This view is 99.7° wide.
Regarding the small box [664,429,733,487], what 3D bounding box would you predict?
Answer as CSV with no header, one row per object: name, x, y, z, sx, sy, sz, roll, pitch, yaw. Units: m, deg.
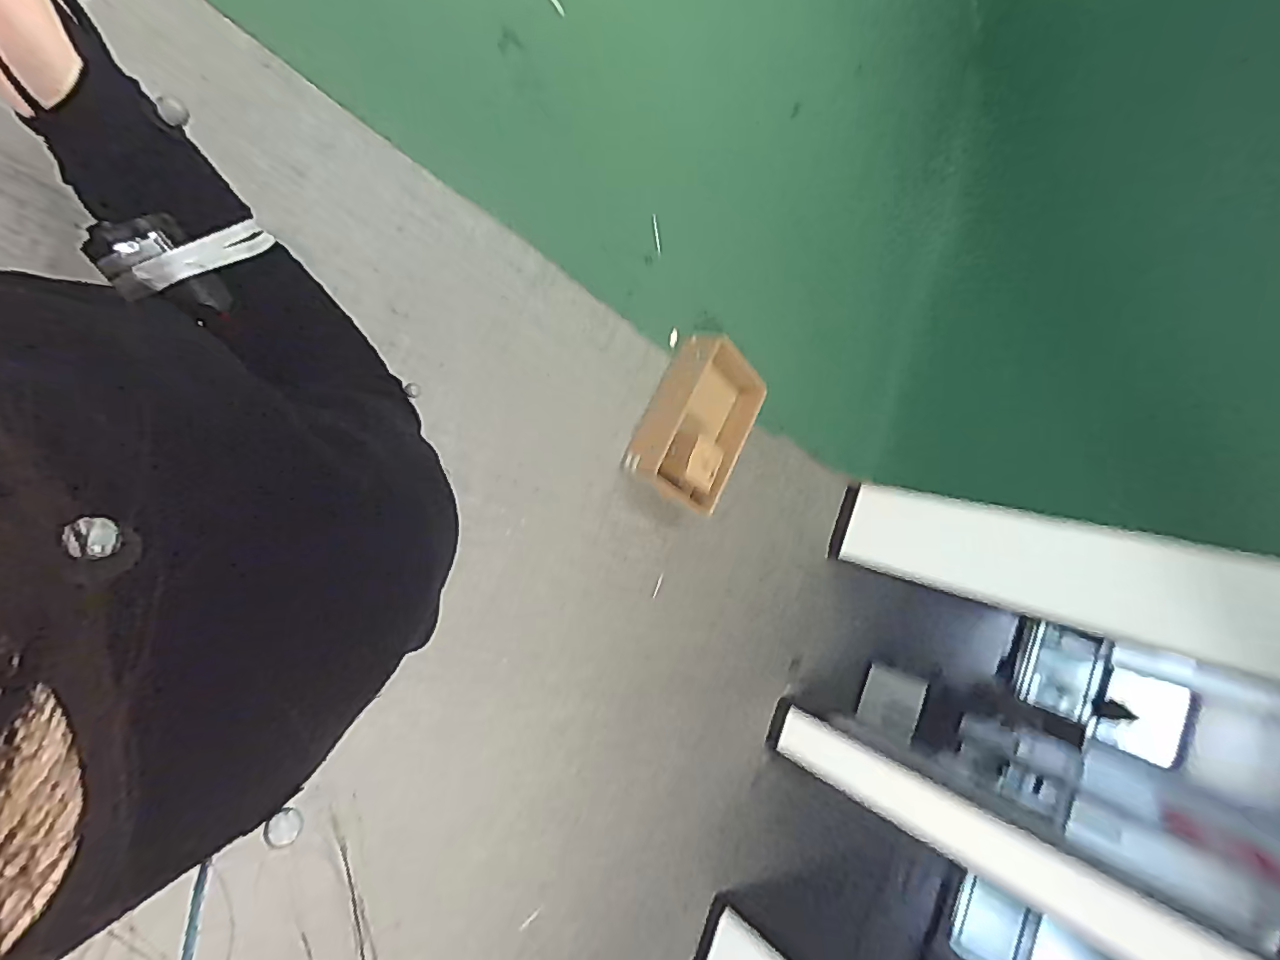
small box,0.223,-0.090,2.102,0.179,0.176,0.168,30,80,-42
